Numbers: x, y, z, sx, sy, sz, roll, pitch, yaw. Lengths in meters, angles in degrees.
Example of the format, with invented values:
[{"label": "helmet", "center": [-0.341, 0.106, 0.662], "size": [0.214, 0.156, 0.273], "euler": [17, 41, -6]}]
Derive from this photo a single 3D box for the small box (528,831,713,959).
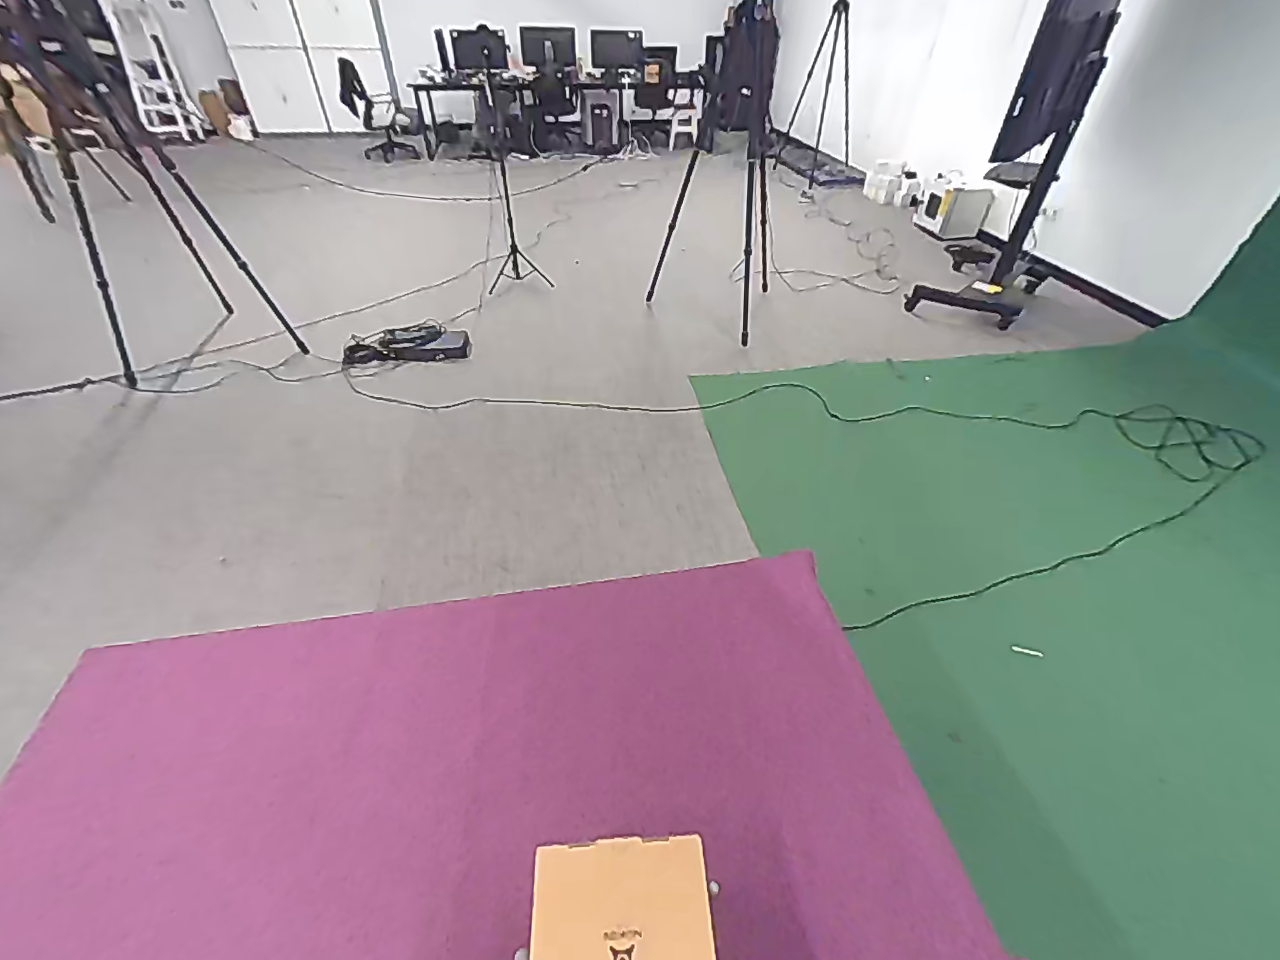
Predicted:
[{"label": "small box", "center": [-0.016, 0.475, 0.531], "size": [0.168, 0.176, 0.179], "euler": [-2, 41, -3]}]
